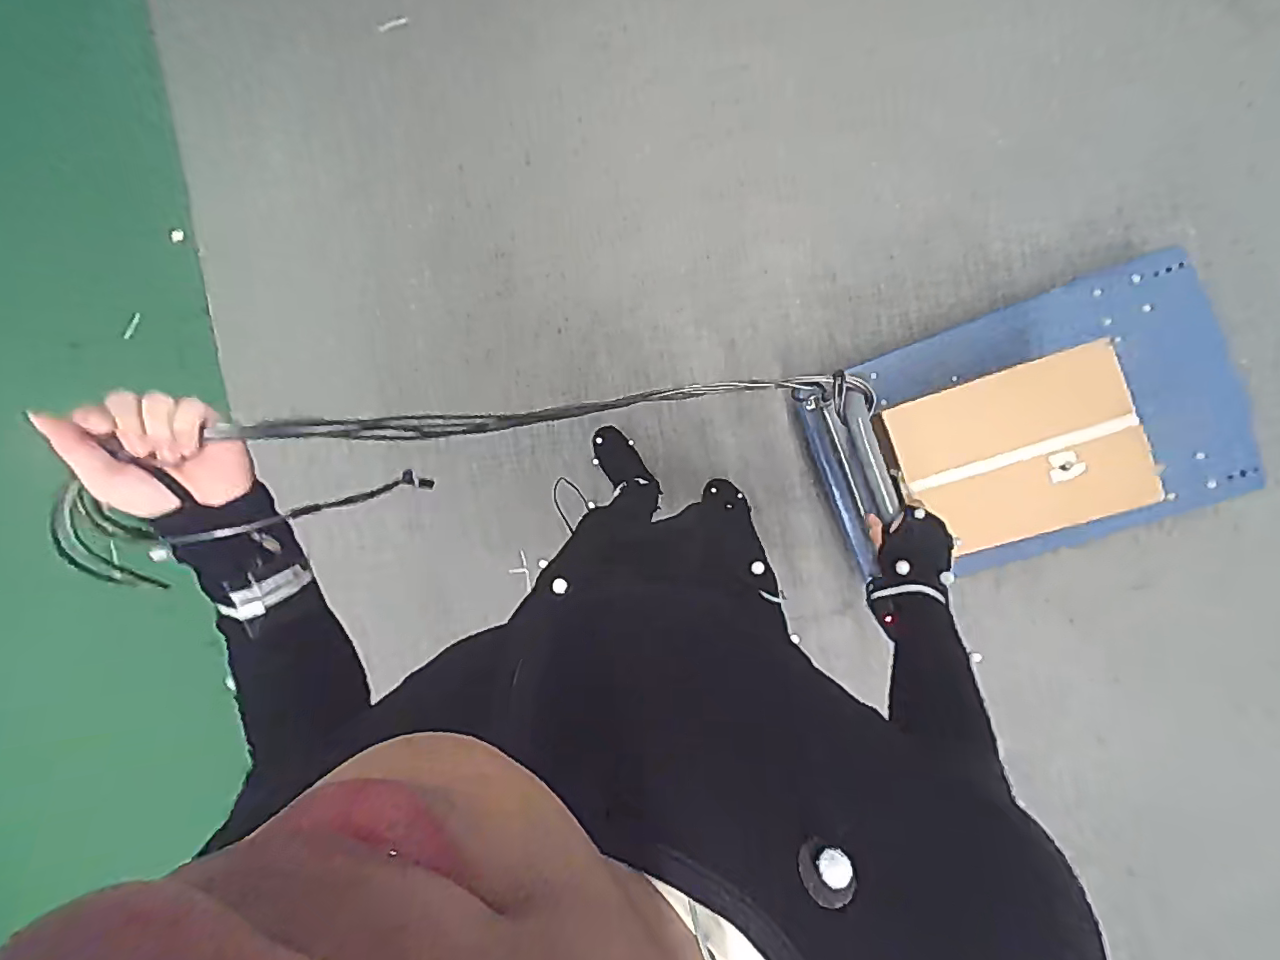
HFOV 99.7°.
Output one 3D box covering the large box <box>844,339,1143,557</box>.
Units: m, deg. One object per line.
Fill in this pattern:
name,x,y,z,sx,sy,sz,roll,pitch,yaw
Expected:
large box,0.715,-0.060,1.170,0.408,0.320,0.320,-18,91,11
